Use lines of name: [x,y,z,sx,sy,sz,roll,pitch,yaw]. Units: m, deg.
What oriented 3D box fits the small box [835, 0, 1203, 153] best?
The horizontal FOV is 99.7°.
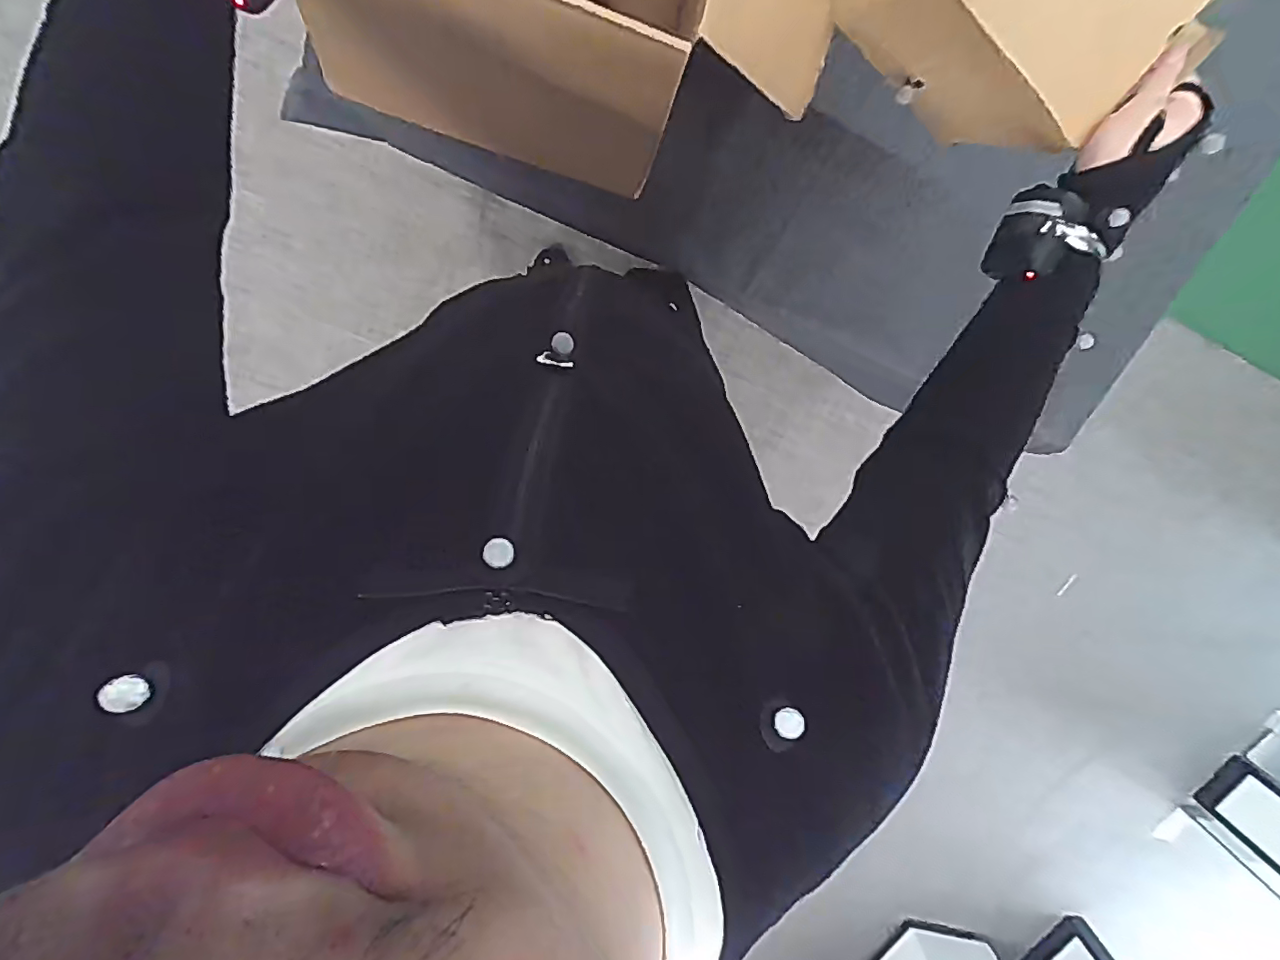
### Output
small box: [0.294,-0.392,0.418,0.179,0.176,0.168,25,115,-27]
